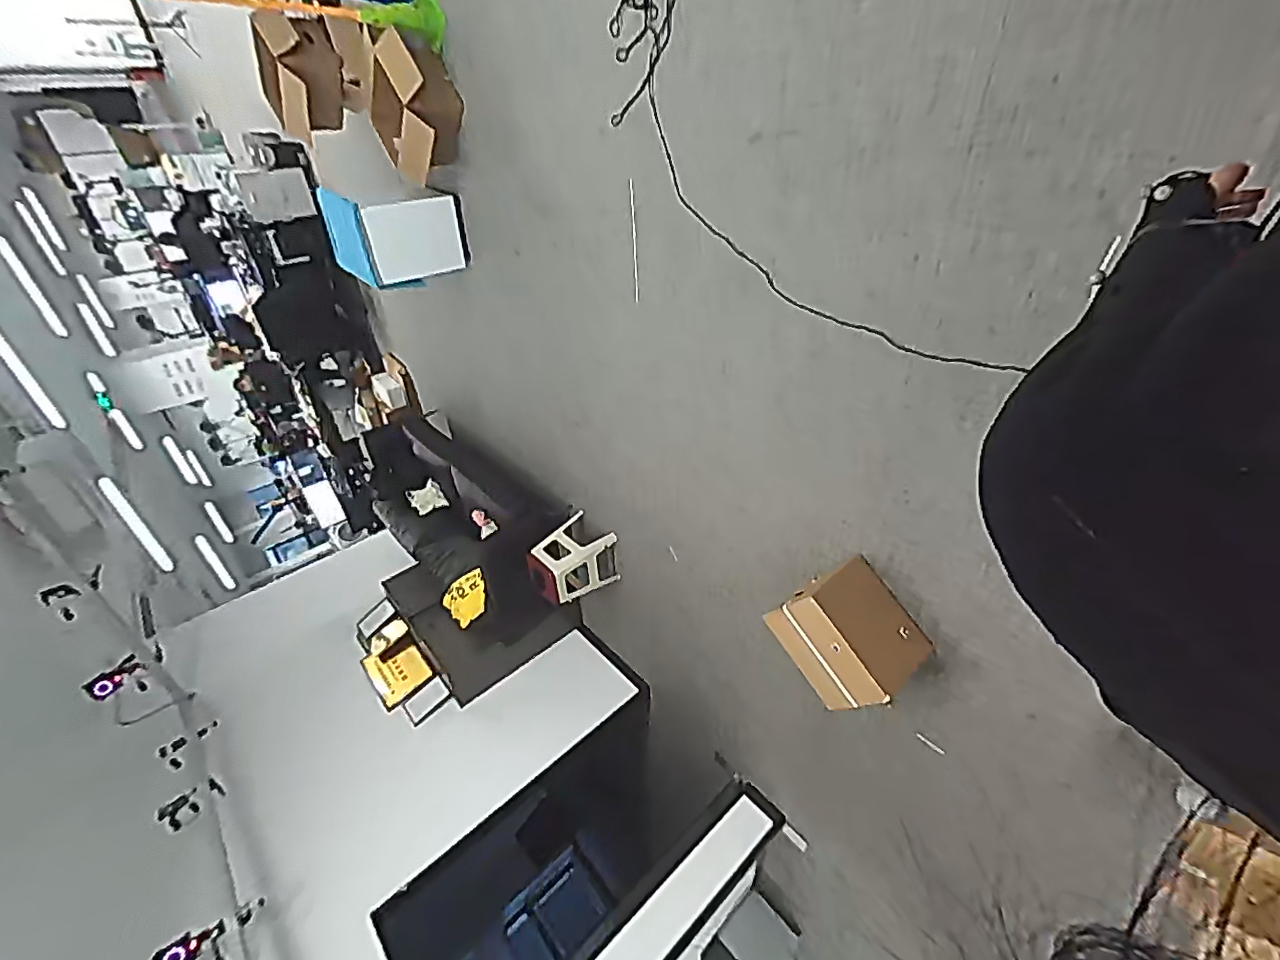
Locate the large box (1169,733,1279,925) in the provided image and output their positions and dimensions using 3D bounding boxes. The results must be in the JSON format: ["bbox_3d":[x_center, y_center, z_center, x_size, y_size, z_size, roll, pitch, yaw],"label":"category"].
[{"bbox_3d":[1.461,0.841,1.160,0.408,0.320,0.320,17,128,47],"label":"large box"}]

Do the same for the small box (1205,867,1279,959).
[{"bbox_3d":[1.247,0.917,1.056,0.168,0.176,0.179,19,128,48],"label":"small box"}]
